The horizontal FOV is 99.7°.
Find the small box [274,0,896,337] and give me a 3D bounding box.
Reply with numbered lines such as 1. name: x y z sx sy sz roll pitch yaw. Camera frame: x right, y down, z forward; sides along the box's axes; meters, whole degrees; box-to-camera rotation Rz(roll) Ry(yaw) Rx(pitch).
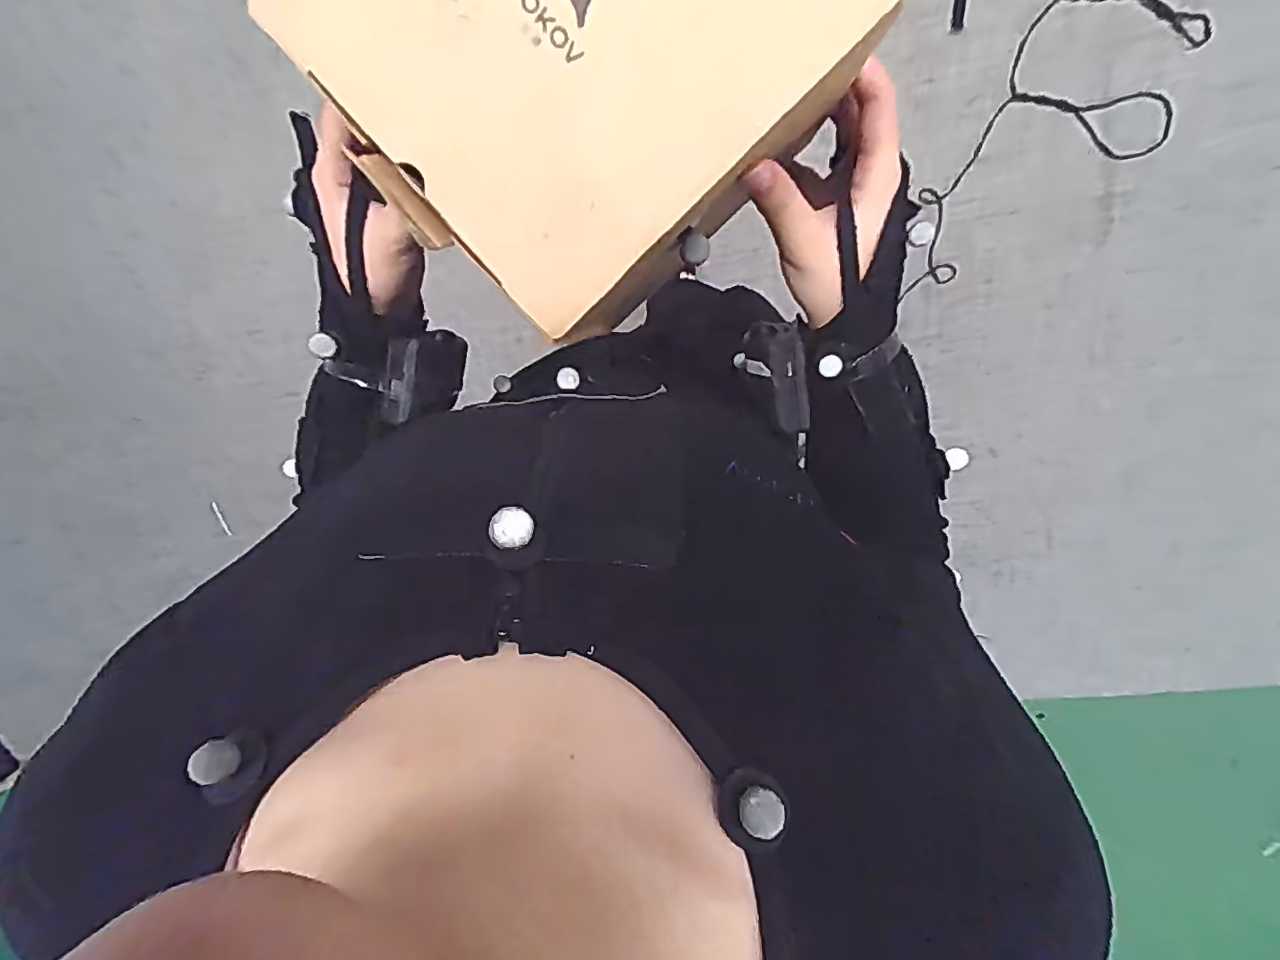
1. small box: -0.017 -0.193 0.272 0.179 0.176 0.168 -40 100 16
